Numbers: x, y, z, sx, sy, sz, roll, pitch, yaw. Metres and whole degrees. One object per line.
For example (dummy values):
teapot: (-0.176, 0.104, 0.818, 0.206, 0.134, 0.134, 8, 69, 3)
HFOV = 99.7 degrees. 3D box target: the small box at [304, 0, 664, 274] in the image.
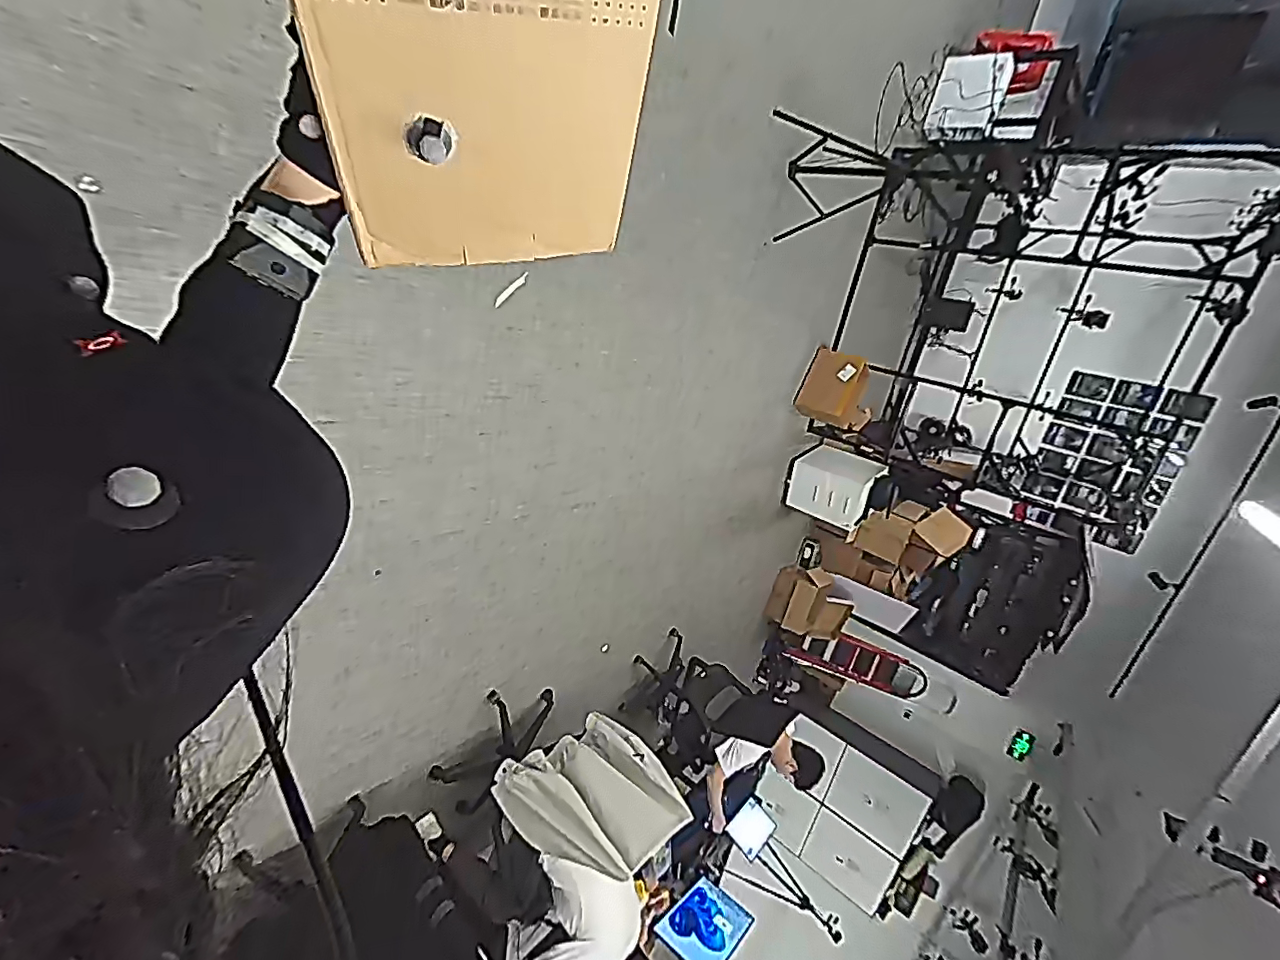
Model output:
small box: (-0.099, -0.252, 0.320, 0.168, 0.179, 0.176, -12, 152, -23)
